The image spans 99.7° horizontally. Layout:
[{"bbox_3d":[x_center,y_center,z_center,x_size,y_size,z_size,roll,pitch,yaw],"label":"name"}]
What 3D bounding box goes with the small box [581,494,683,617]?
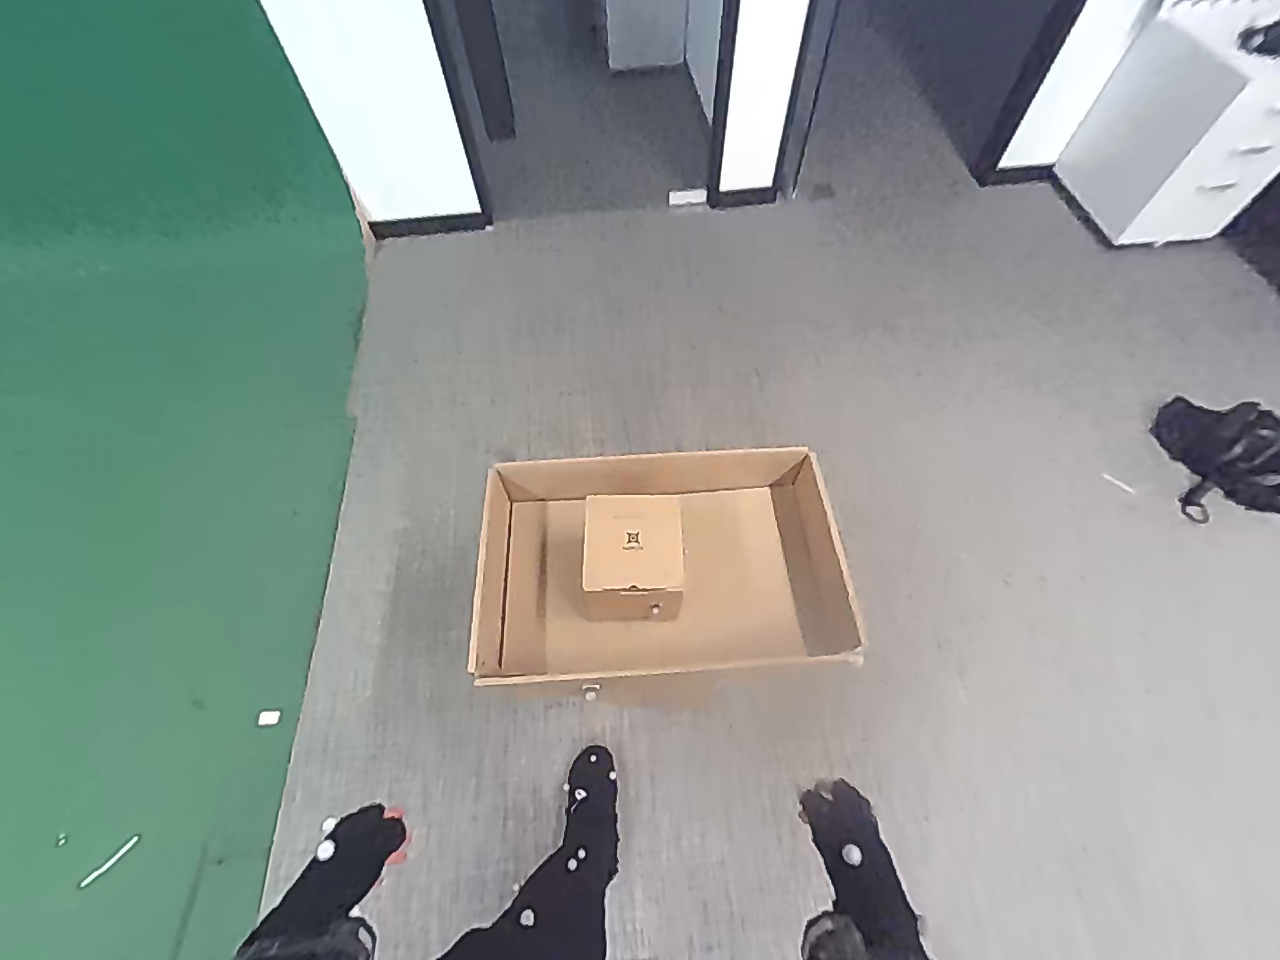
[{"bbox_3d":[-0.014,0.141,0.970,0.168,0.176,0.179,0,57,-2],"label":"small box"}]
